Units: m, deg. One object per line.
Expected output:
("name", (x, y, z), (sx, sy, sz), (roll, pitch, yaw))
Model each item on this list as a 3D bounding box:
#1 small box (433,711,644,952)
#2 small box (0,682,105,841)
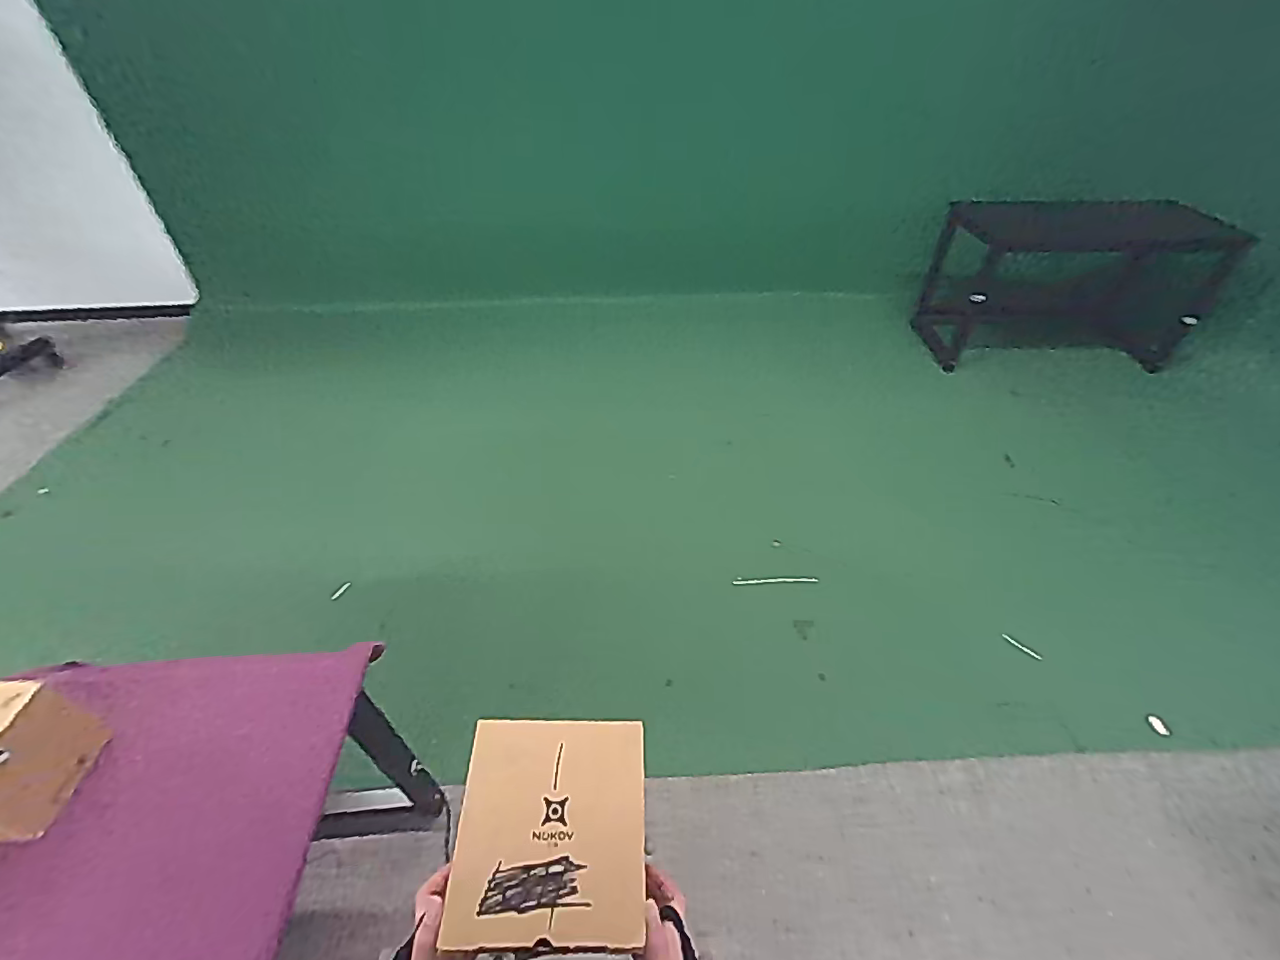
("small box", (-0.082, 0.347, 0.532), (0.168, 0.176, 0.179), (3, 48, -2))
("small box", (-0.976, 0.415, 0.793), (0.179, 0.176, 0.168), (-1, 43, 0))
